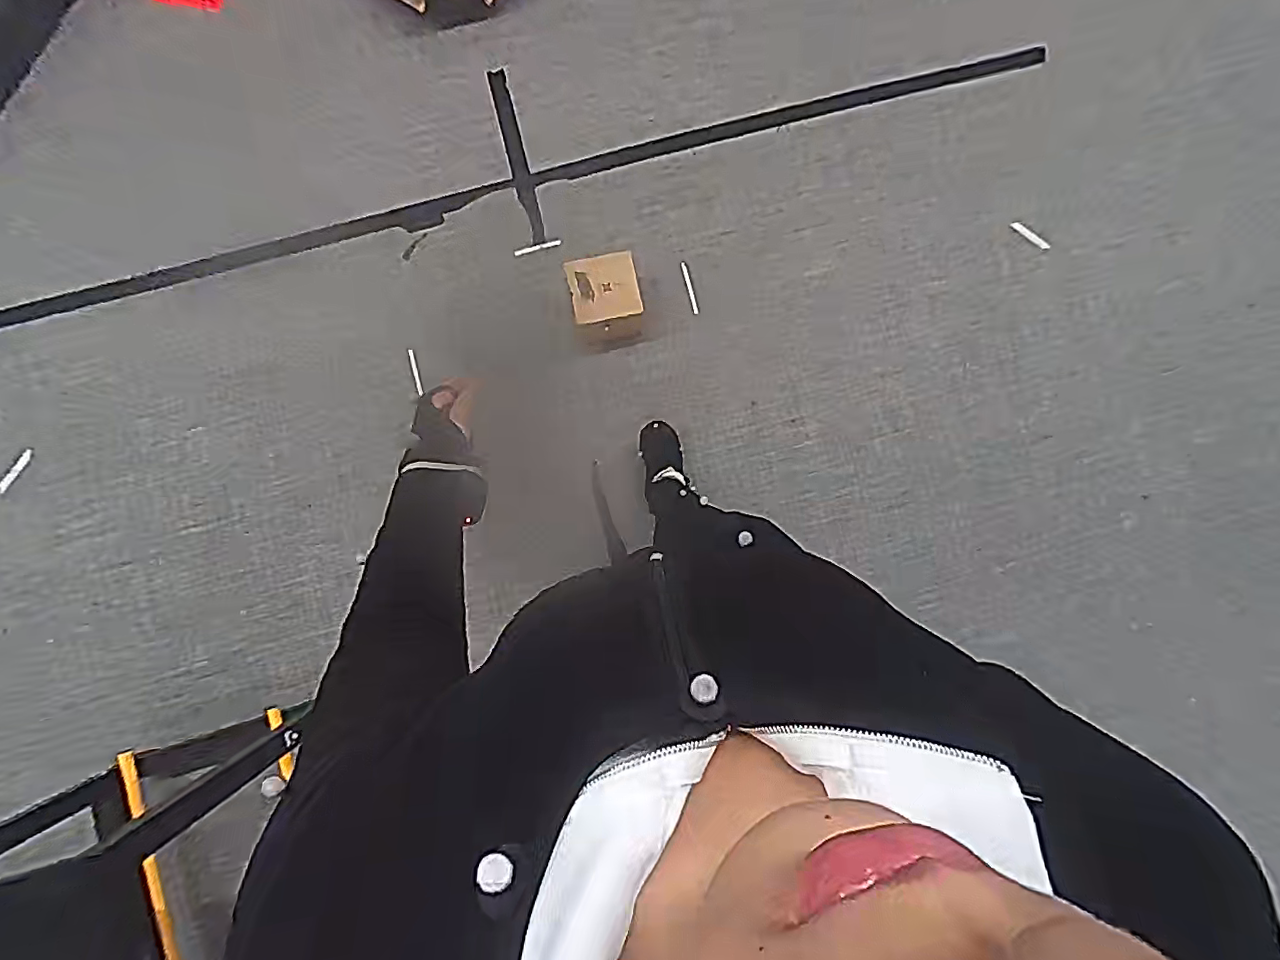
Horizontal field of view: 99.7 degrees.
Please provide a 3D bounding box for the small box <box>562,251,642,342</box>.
[{"bbox_3d":[-0.098,-0.480,1.440,0.179,0.176,0.168,-12,88,-4],"label":"small box"}]
